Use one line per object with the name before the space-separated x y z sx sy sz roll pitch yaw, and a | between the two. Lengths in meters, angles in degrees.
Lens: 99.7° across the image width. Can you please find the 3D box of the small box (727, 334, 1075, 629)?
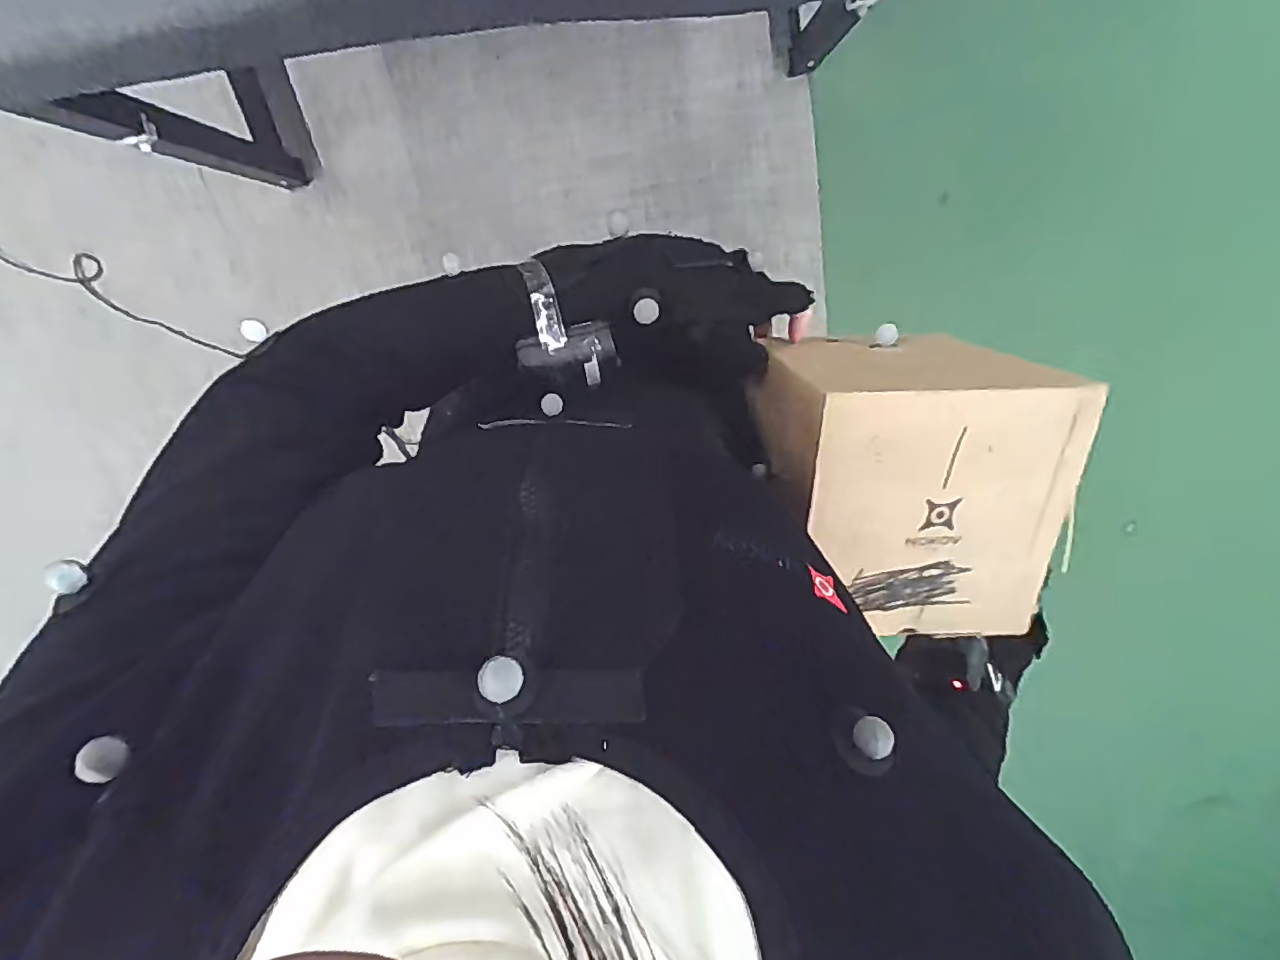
small box | 0.168 -0.007 0.420 0.168 0.176 0.179 0 115 -4
